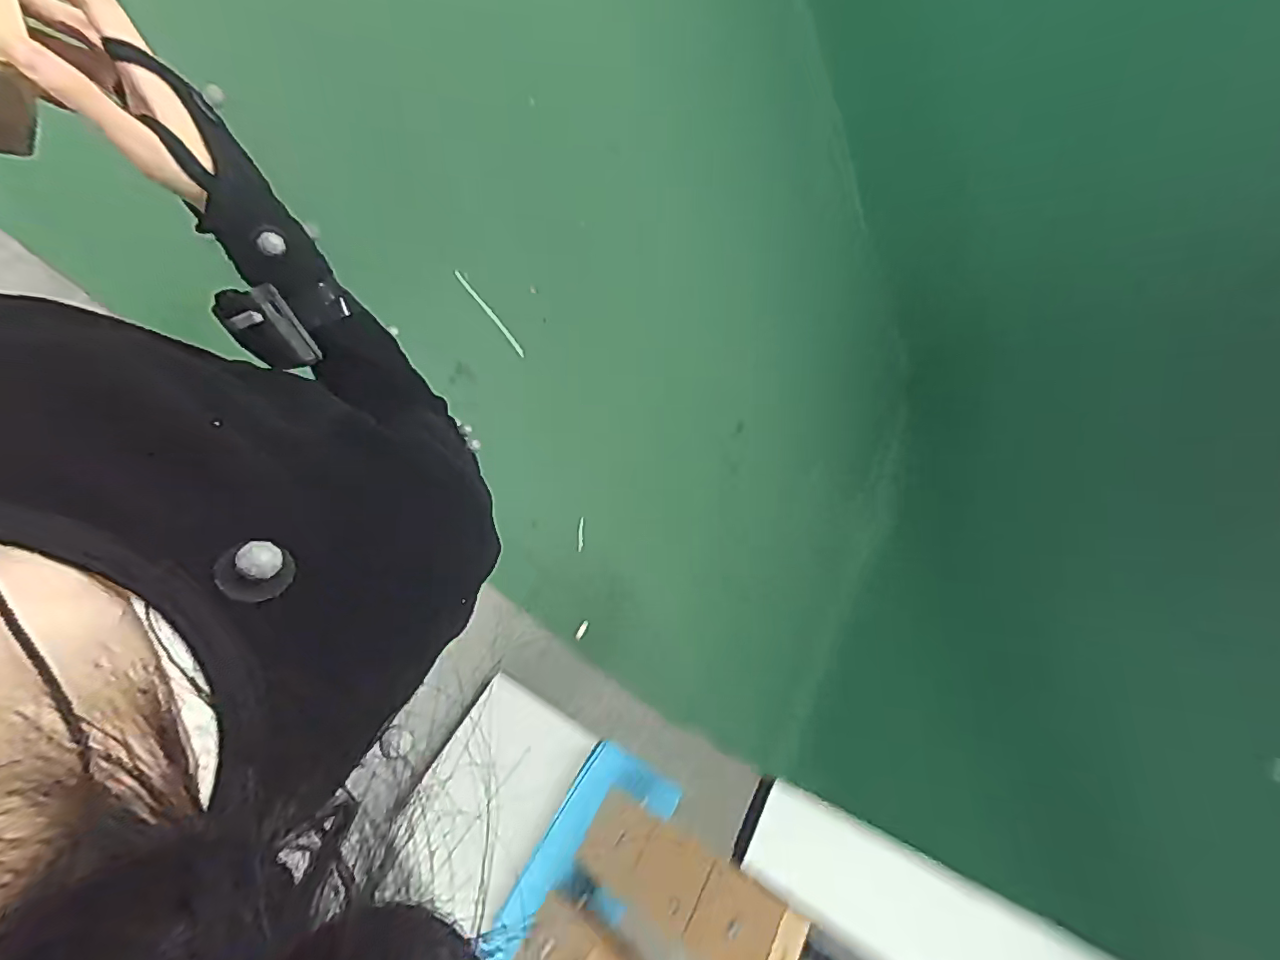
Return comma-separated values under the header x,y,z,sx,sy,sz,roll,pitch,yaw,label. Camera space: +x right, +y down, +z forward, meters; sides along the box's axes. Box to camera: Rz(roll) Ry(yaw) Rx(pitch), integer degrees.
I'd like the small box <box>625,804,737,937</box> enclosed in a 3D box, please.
x,y,z,sx,sy,sz,roll,pitch,yaw,label
0.090,0.892,1.243,0.179,0.176,0.168,-58,133,-23,small box

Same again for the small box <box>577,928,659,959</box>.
x,y,z,sx,sy,sz,roll,pitch,yaw,label
-0.047,1.083,1.132,0.179,0.176,0.168,51,60,-40,small box

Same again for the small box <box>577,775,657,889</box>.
x,y,z,sx,sy,sz,roll,pitch,yaw,label
-0.032,0.881,1.352,0.179,0.176,0.168,-58,132,-23,small box

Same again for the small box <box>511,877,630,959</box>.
x,y,z,sx,sy,sz,roll,pitch,yaw,label
-0.162,1.058,1.245,0.168,0.176,0.179,-57,131,-23,small box
